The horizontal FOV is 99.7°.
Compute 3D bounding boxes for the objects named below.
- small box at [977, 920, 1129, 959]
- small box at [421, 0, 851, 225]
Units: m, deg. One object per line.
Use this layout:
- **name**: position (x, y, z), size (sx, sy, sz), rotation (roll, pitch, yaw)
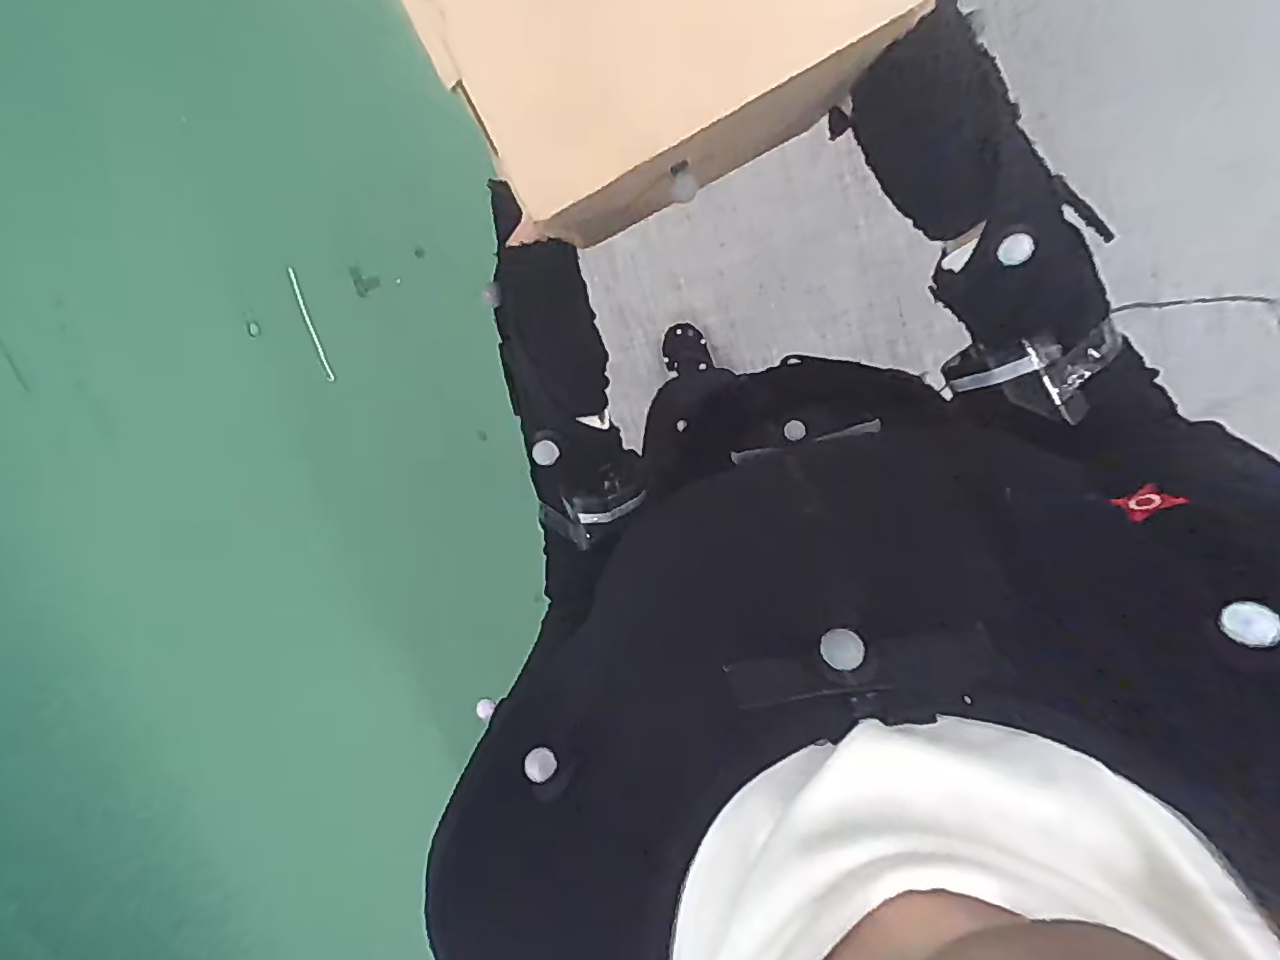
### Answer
- **small box**: position (0.567, 0.720, 0.706), size (0.179, 0.176, 0.168), rotation (-13, 103, 12)
- **small box**: position (-0.007, -0.255, 0.274), size (0.179, 0.176, 0.168), rotation (-27, 104, 11)
